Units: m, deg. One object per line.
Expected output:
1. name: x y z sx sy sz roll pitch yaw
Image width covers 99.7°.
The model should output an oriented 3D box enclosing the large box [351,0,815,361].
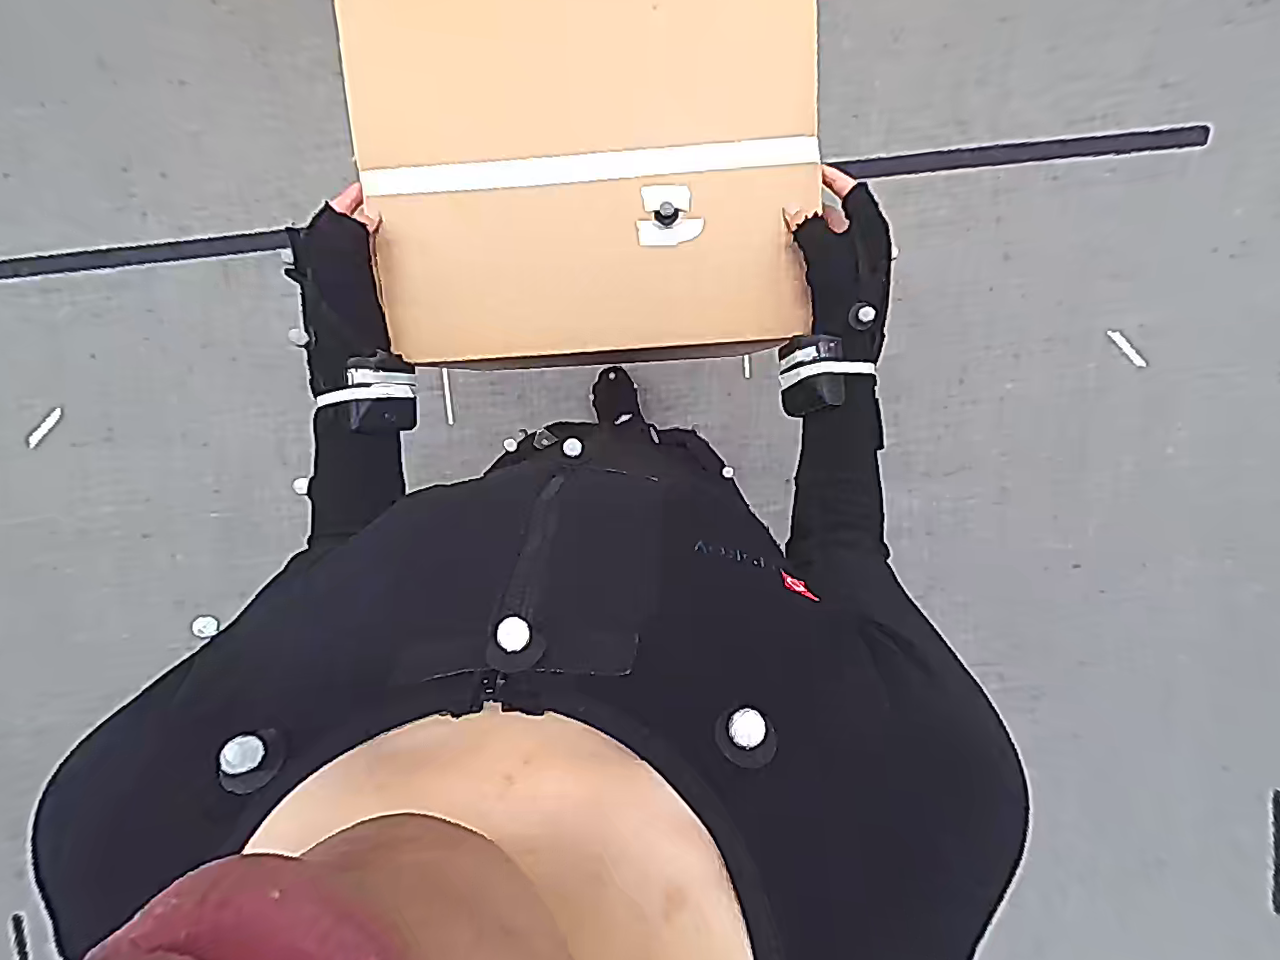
1. large box: -0.045 -0.317 0.634 0.408 0.320 0.320 -3 100 1
